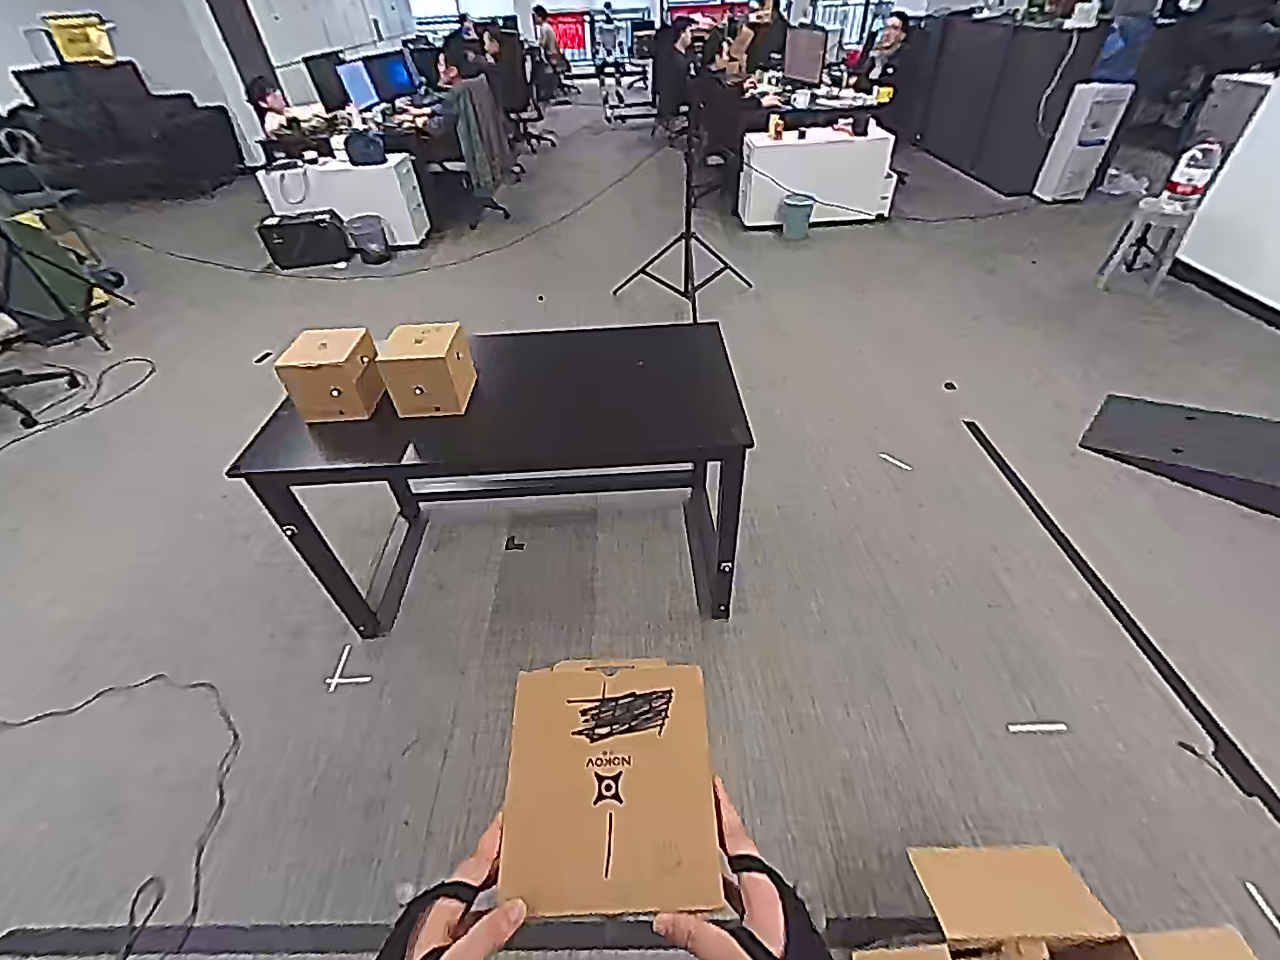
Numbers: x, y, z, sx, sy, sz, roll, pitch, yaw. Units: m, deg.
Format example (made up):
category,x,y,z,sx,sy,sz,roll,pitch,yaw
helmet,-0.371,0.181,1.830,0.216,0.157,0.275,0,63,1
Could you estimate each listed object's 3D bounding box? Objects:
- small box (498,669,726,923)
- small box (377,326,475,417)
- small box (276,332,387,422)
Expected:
category,x,y,z,sx,sy,sz,roll,pitch,yaw
small box,-0.020,0.290,0.495,0.168,0.176,0.179,-2,51,0
small box,-0.530,-0.270,1.369,0.168,0.176,0.179,-2,42,0
small box,-0.769,-0.257,1.374,0.168,0.176,0.179,-3,41,-1
